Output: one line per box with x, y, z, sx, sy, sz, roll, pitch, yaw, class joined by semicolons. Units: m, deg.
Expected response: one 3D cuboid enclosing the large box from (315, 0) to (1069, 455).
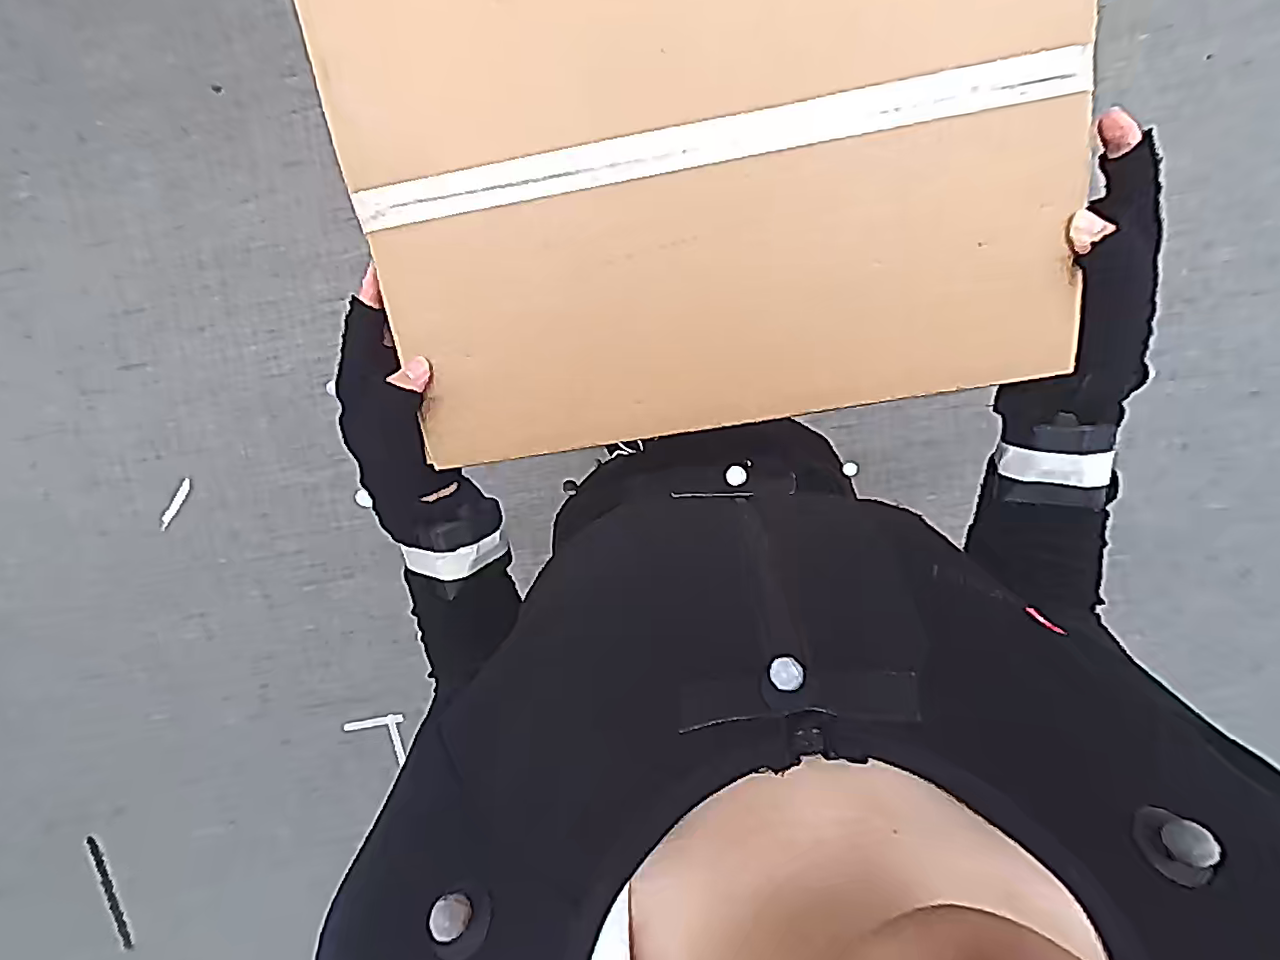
0.038;-0.233;0.454;0.408;0.320;0.320;-9;107;4;large box
